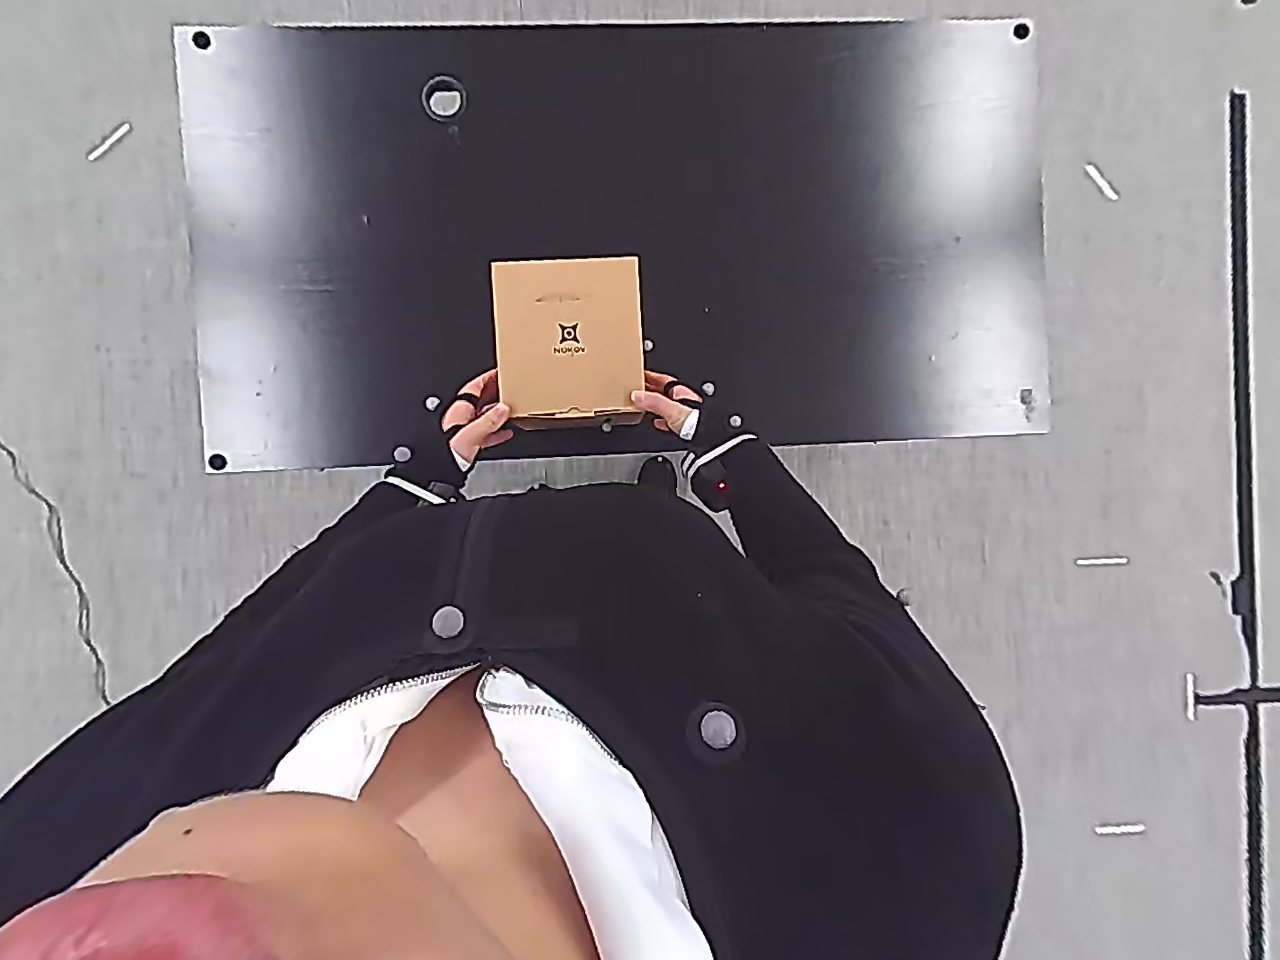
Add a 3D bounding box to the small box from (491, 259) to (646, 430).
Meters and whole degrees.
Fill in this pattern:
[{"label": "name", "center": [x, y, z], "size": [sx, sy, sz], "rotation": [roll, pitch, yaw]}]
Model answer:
[{"label": "small box", "center": [-0.082, -0.156, 0.680], "size": [0.168, 0.176, 0.179], "rotation": [-4, 90, -4]}]
